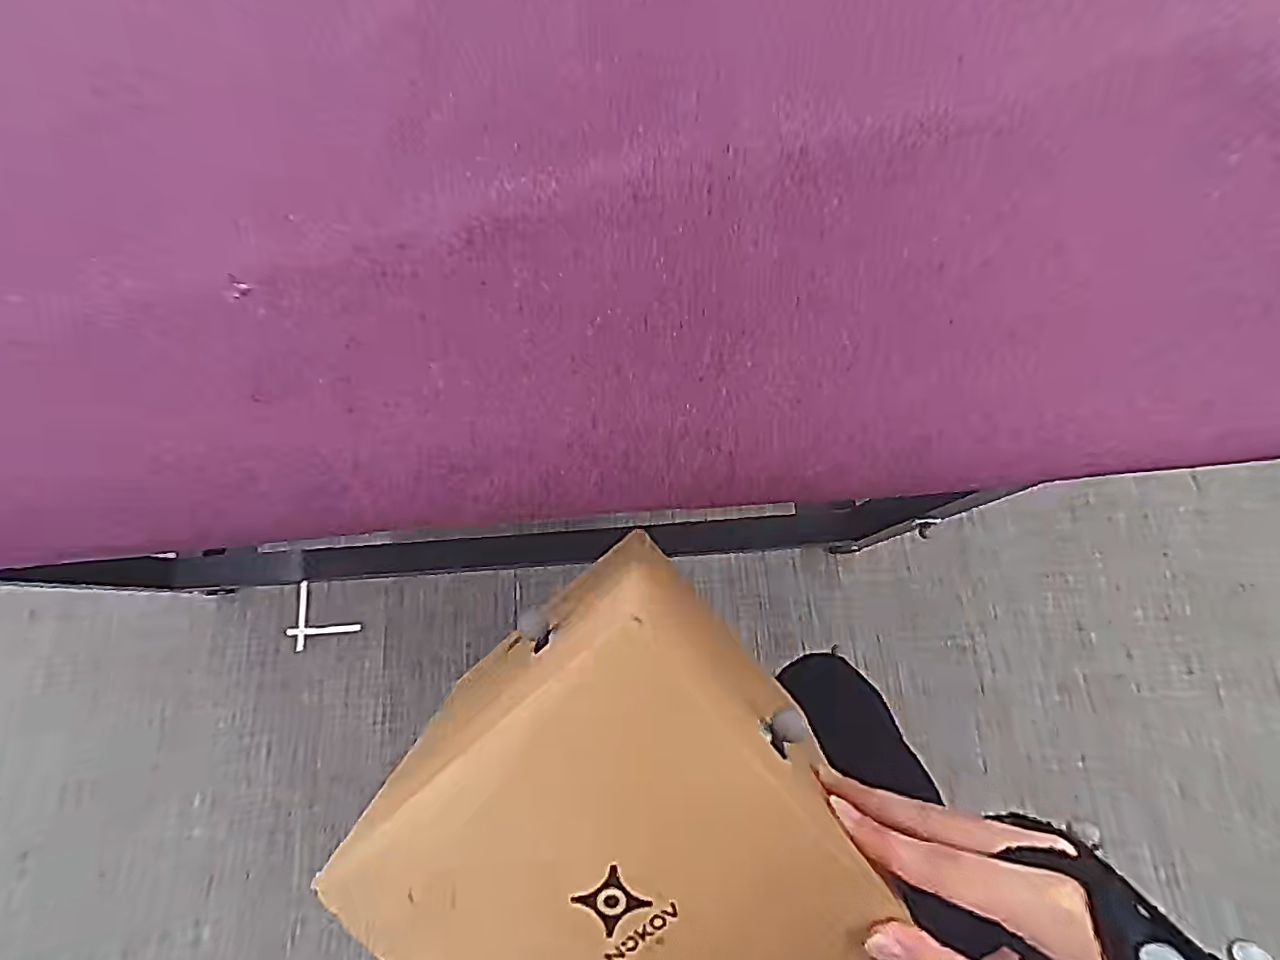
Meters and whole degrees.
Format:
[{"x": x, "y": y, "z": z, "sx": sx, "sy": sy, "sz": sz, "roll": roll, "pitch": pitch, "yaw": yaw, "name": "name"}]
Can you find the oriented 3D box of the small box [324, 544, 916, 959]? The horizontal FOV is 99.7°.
[{"x": -0.008, "y": 0.152, "z": 0.289, "sx": 0.168, "sy": 0.176, "sz": 0.179, "roll": -41, "pitch": 95, "yaw": 3, "name": "small box"}]
